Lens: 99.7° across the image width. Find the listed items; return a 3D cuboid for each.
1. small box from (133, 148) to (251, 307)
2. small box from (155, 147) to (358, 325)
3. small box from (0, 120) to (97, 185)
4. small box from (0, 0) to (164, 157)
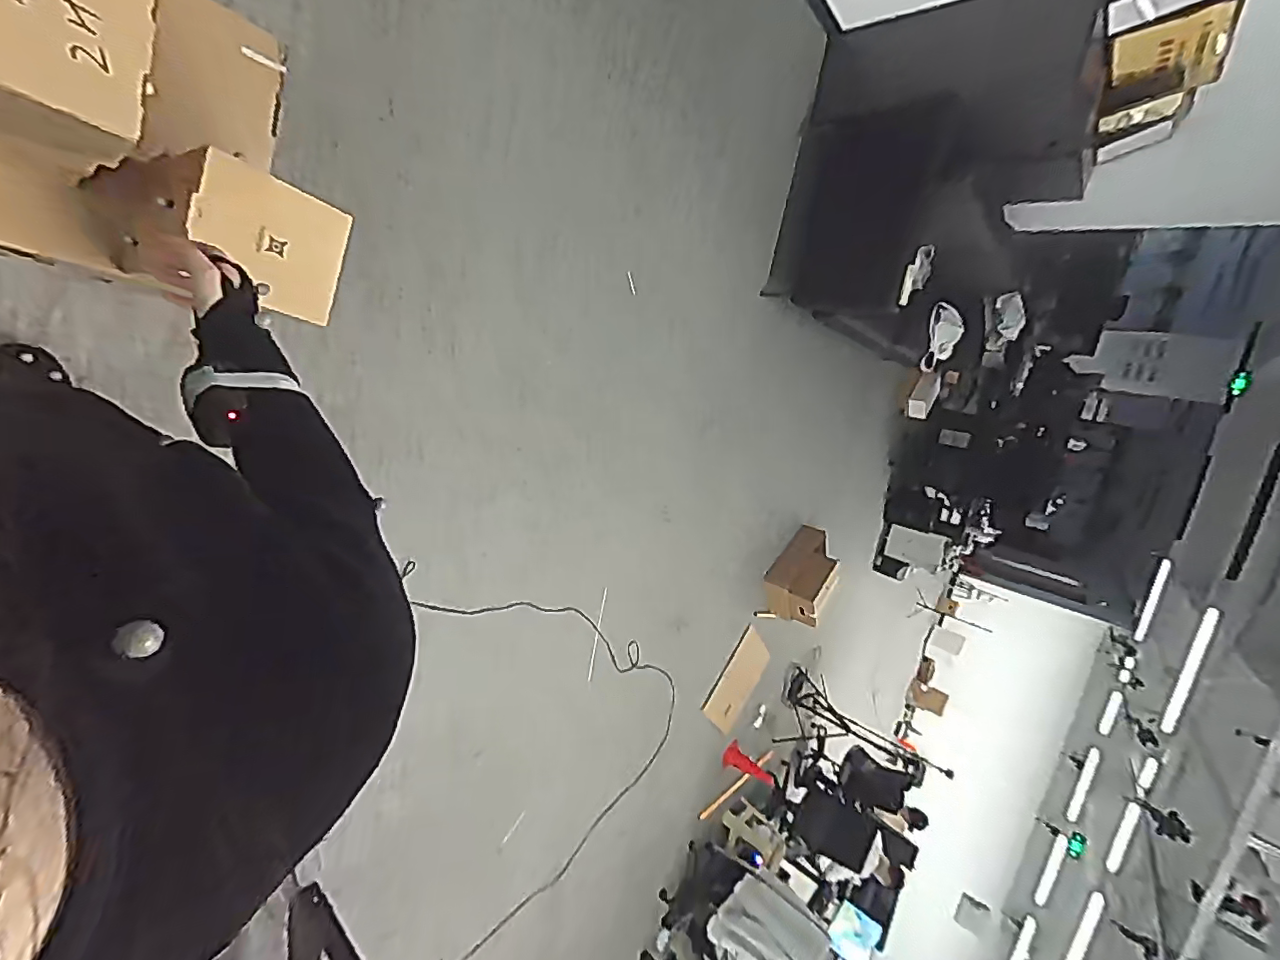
[{"bbox_3d":[-0.668,-0.381,0.854,0.168,0.176,0.179,10,95,-53],"label":"small box"},{"bbox_3d":[-0.541,-0.334,0.765,0.179,0.176,0.168,11,95,-52],"label":"small box"},{"bbox_3d":[-0.785,-0.498,0.669,0.168,0.176,0.179,10,95,-51],"label":"small box"},{"bbox_3d":[-0.542,-0.407,0.464,0.179,0.176,0.168,7,98,-51],"label":"small box"}]
